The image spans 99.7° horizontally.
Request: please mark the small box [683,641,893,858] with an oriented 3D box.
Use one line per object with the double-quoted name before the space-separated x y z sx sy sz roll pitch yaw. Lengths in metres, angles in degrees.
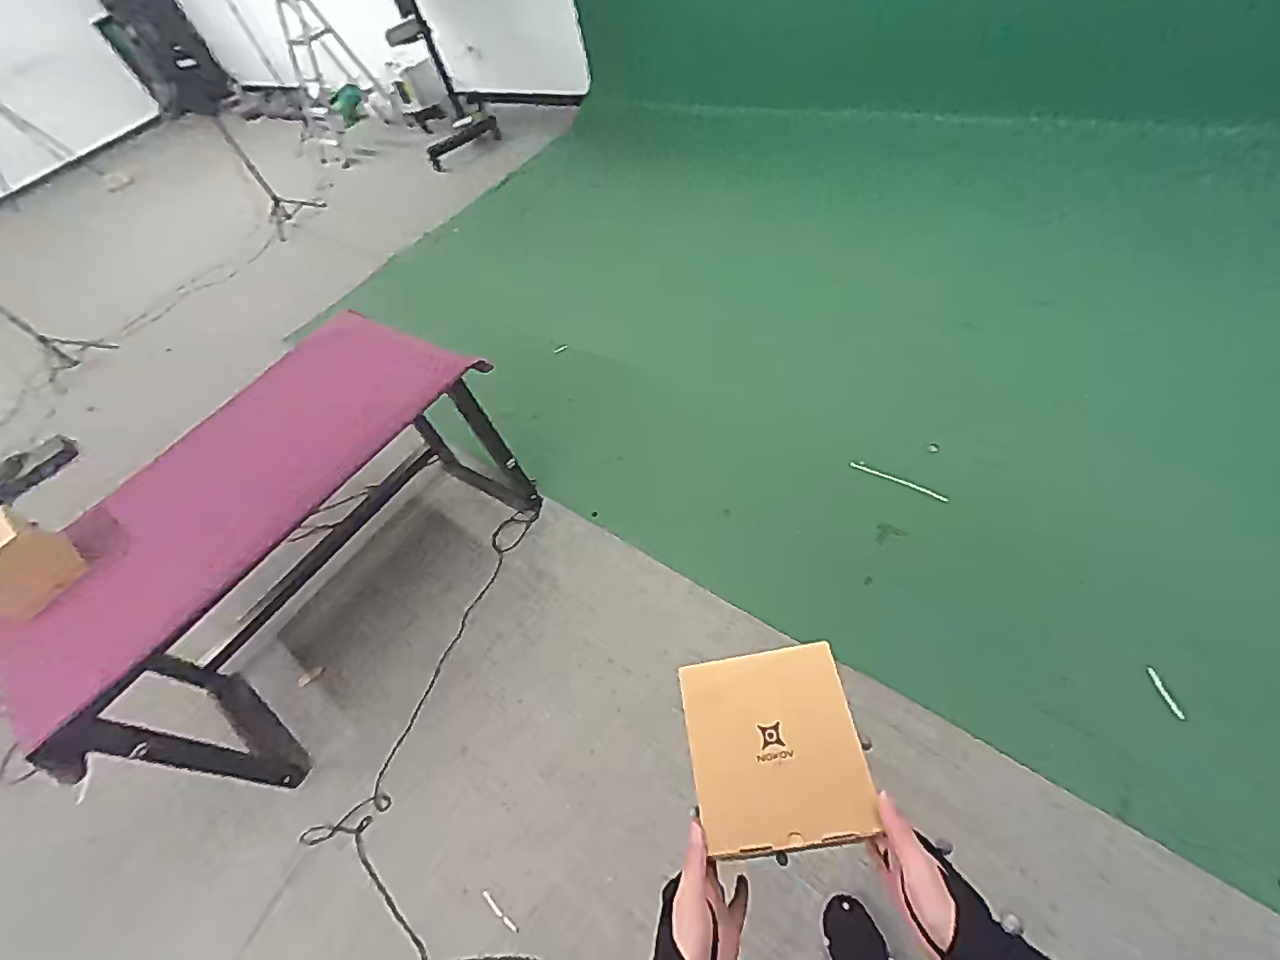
"small box" 0.146 0.298 0.590 0.168 0.176 0.179 -11 55 4
